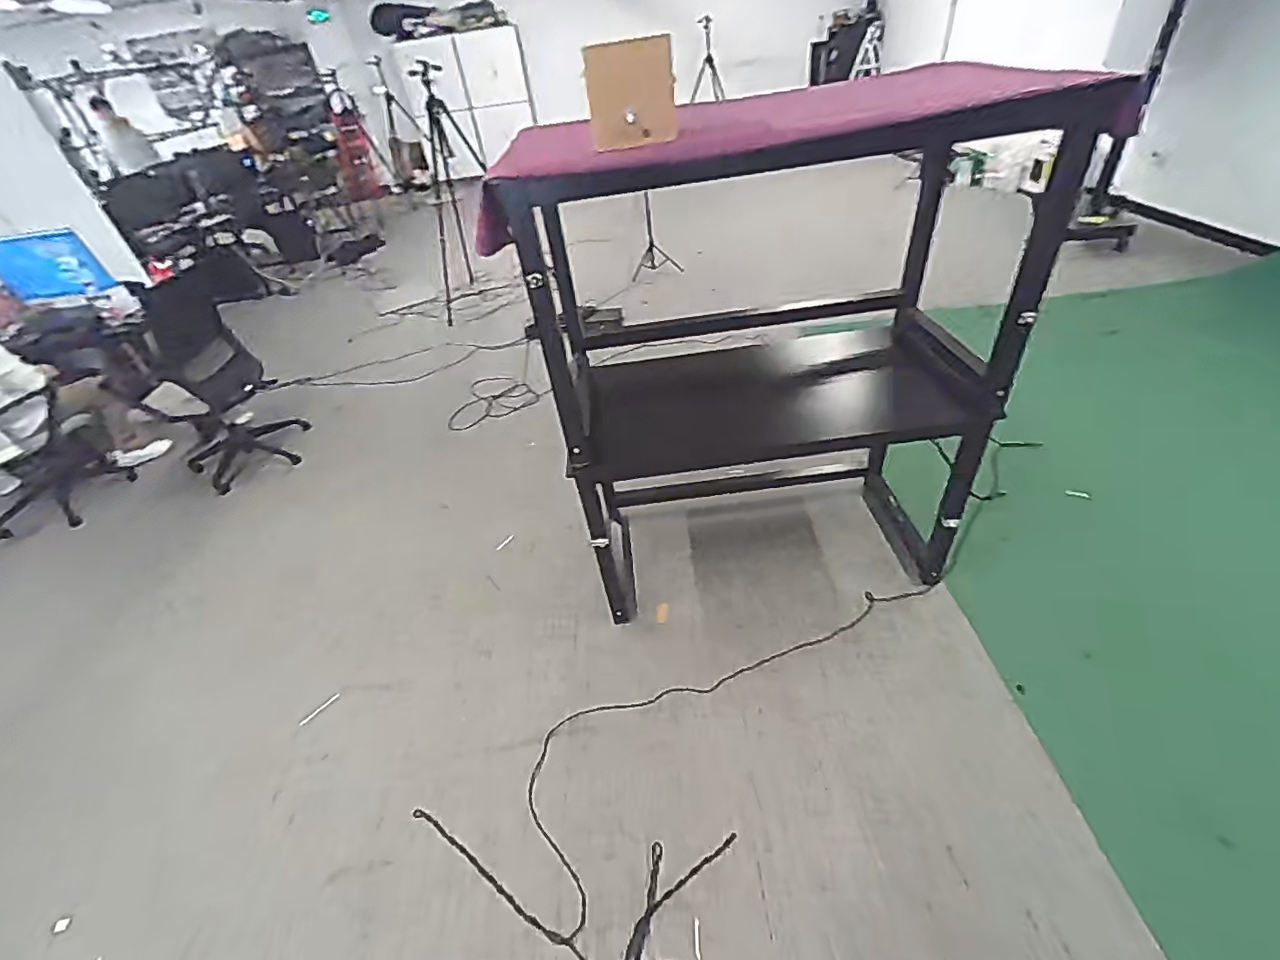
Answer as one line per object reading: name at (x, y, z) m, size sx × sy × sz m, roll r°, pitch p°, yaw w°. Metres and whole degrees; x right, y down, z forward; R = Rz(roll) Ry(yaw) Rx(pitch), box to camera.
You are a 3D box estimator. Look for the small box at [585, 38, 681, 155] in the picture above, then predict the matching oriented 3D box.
small box at (-0.013, -0.759, 1.073) m, size 0.168 × 0.176 × 0.179 m, roll -8°, pitch 39°, yaw 2°
